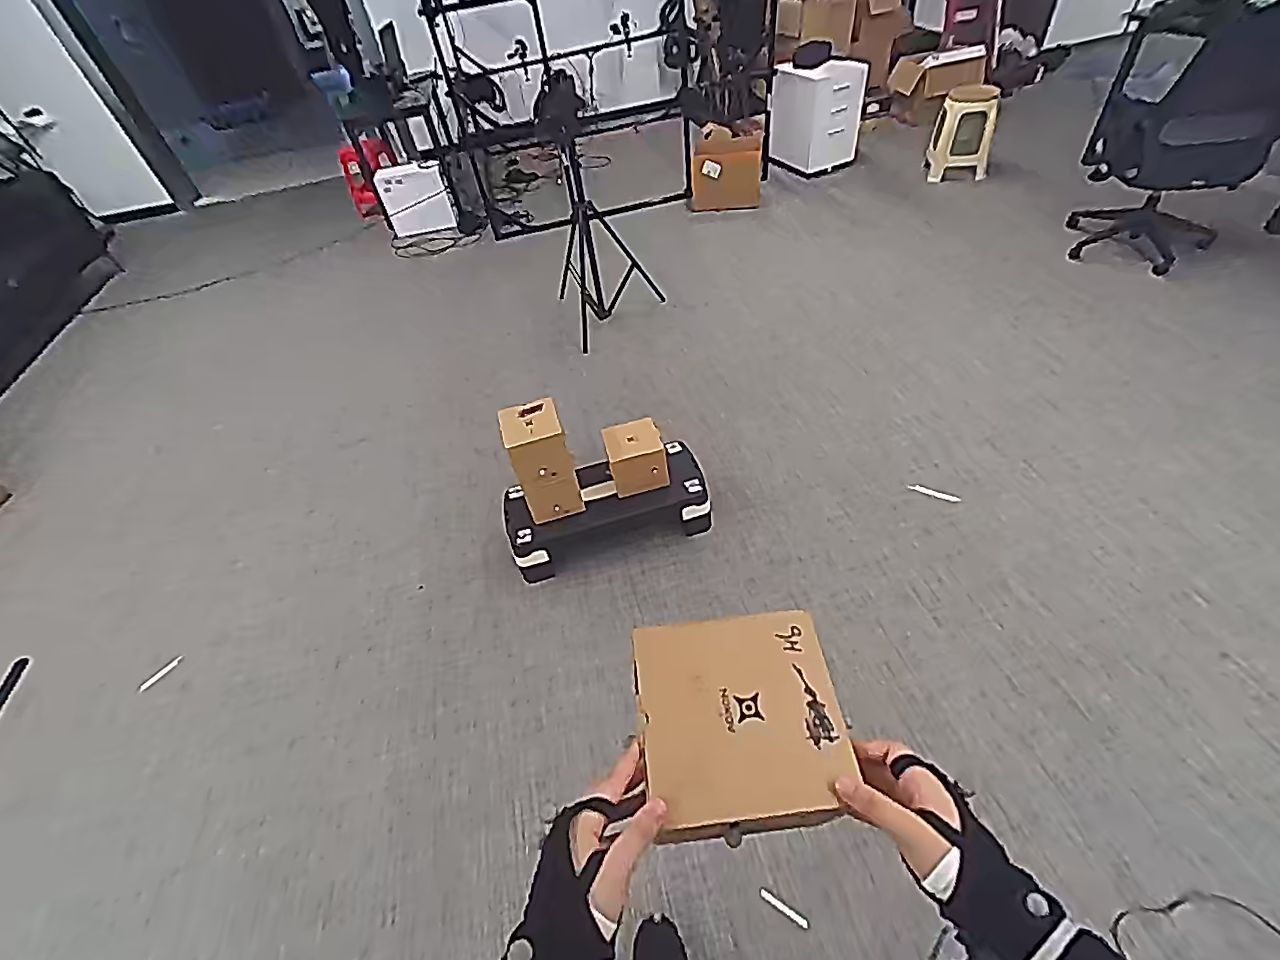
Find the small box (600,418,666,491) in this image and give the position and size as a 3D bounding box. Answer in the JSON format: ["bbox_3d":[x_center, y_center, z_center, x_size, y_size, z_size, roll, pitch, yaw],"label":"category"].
[{"bbox_3d":[-0.017,-0.070,1.752,0.179,0.176,0.168,-16,47,-3],"label":"small box"}]

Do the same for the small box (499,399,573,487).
[{"bbox_3d":[-0.308,-0.108,1.605,0.168,0.176,0.179,-17,47,-7],"label":"small box"}]

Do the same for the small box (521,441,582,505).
[{"bbox_3d":[-0.286,0.006,1.720,0.168,0.176,0.179,-16,47,-6],"label":"small box"}]

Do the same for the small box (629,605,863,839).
[{"bbox_3d":[0.088,0.242,0.533,0.179,0.176,0.168,-6,52,-2],"label":"small box"}]
